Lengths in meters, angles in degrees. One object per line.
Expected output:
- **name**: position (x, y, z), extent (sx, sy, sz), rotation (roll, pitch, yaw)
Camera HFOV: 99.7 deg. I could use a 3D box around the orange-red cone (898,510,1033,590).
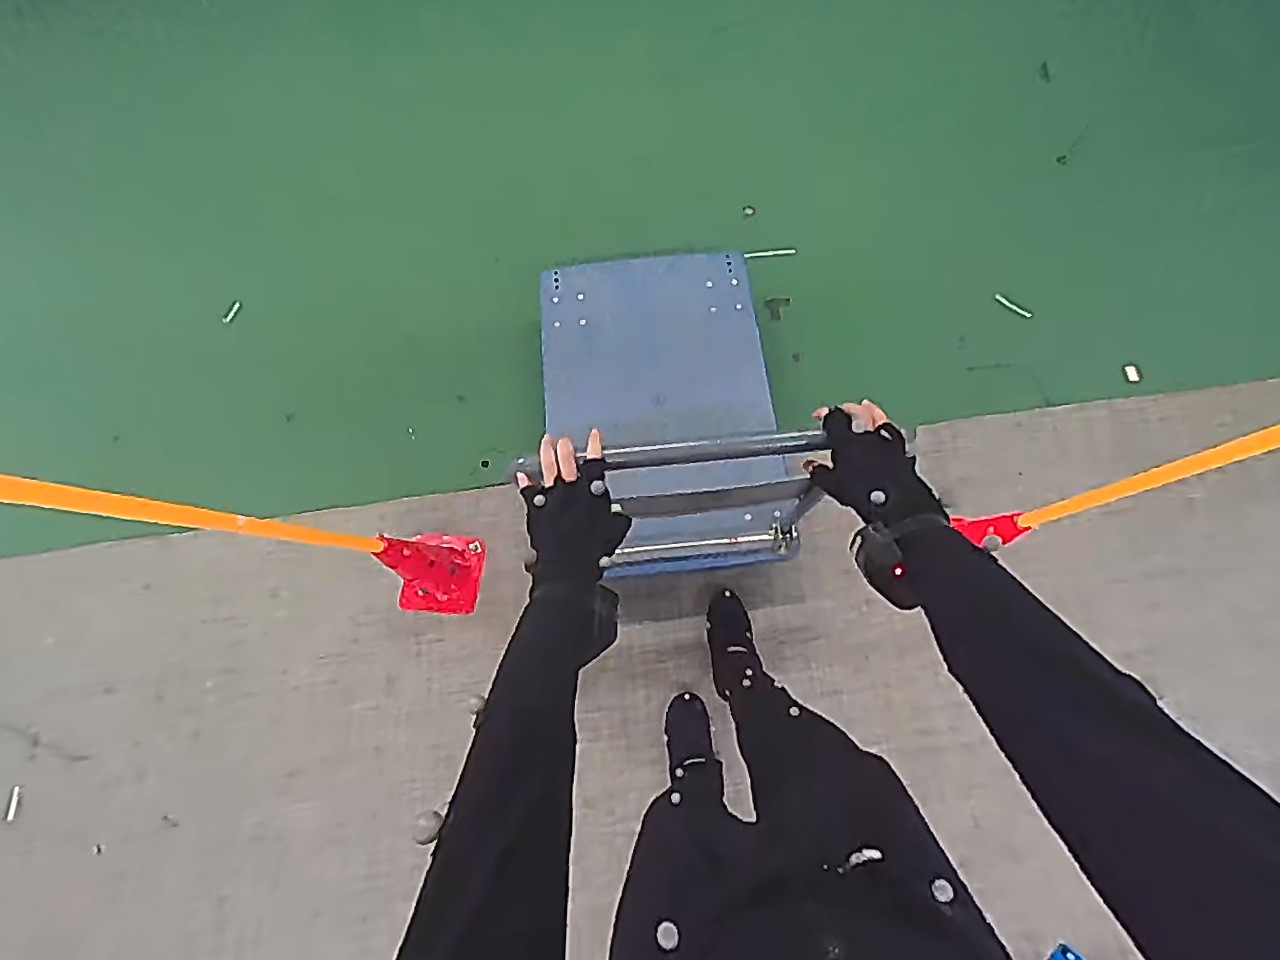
- **orange-red cone**: position (0.768, 0.132, 1.240), extent (0.198, 0.360, 0.199), rotation (2, 73, 3)
